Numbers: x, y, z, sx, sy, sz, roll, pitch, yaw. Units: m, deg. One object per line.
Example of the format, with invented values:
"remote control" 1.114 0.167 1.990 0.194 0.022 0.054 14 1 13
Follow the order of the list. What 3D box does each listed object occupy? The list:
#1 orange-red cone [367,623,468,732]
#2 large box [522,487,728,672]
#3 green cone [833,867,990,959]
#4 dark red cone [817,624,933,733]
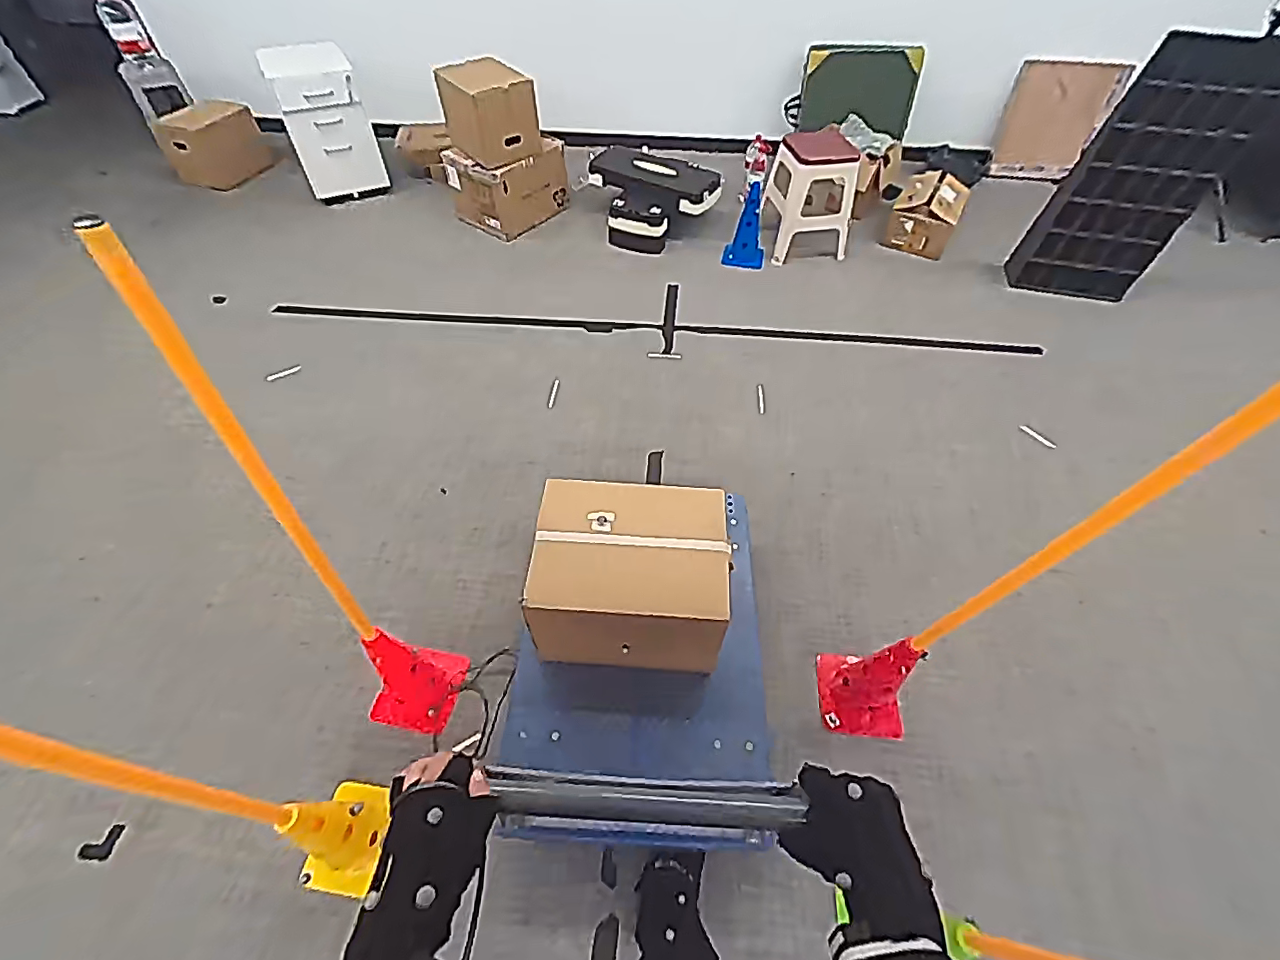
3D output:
"orange-red cone" -0.562 0.425 1.267 0.198 0.360 0.199 11 51 6
"large box" -0.022 0.236 1.246 0.408 0.320 0.320 4 52 2
"green cone" 0.508 0.823 0.974 0.202 0.368 0.200 8 52 4
"dark red cone" 0.572 0.436 1.261 0.201 0.394 0.202 6 52 1
